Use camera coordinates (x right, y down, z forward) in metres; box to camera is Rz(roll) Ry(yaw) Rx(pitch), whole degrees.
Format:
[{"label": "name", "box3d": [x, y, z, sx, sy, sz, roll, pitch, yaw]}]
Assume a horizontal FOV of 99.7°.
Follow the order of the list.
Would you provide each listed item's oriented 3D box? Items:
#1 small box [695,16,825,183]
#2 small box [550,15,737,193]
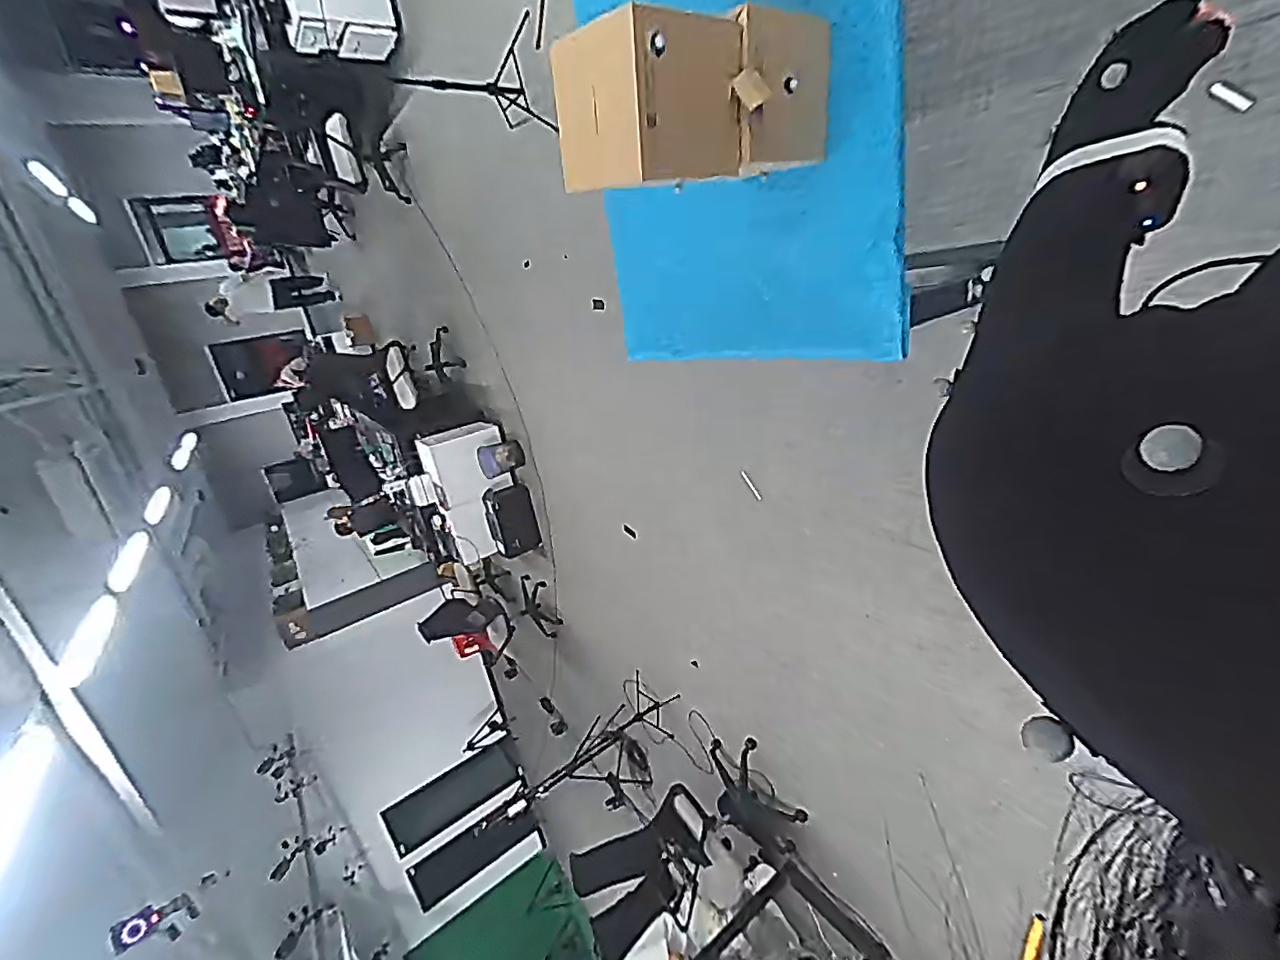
[{"label": "small box", "box3d": [0.141, -0.533, 0.777, 0.179, 0.176, 0.168, 23, 127, 49]}, {"label": "small box", "box3d": [0.006, -0.474, 0.703, 0.179, 0.176, 0.168, 26, 130, 45]}]
